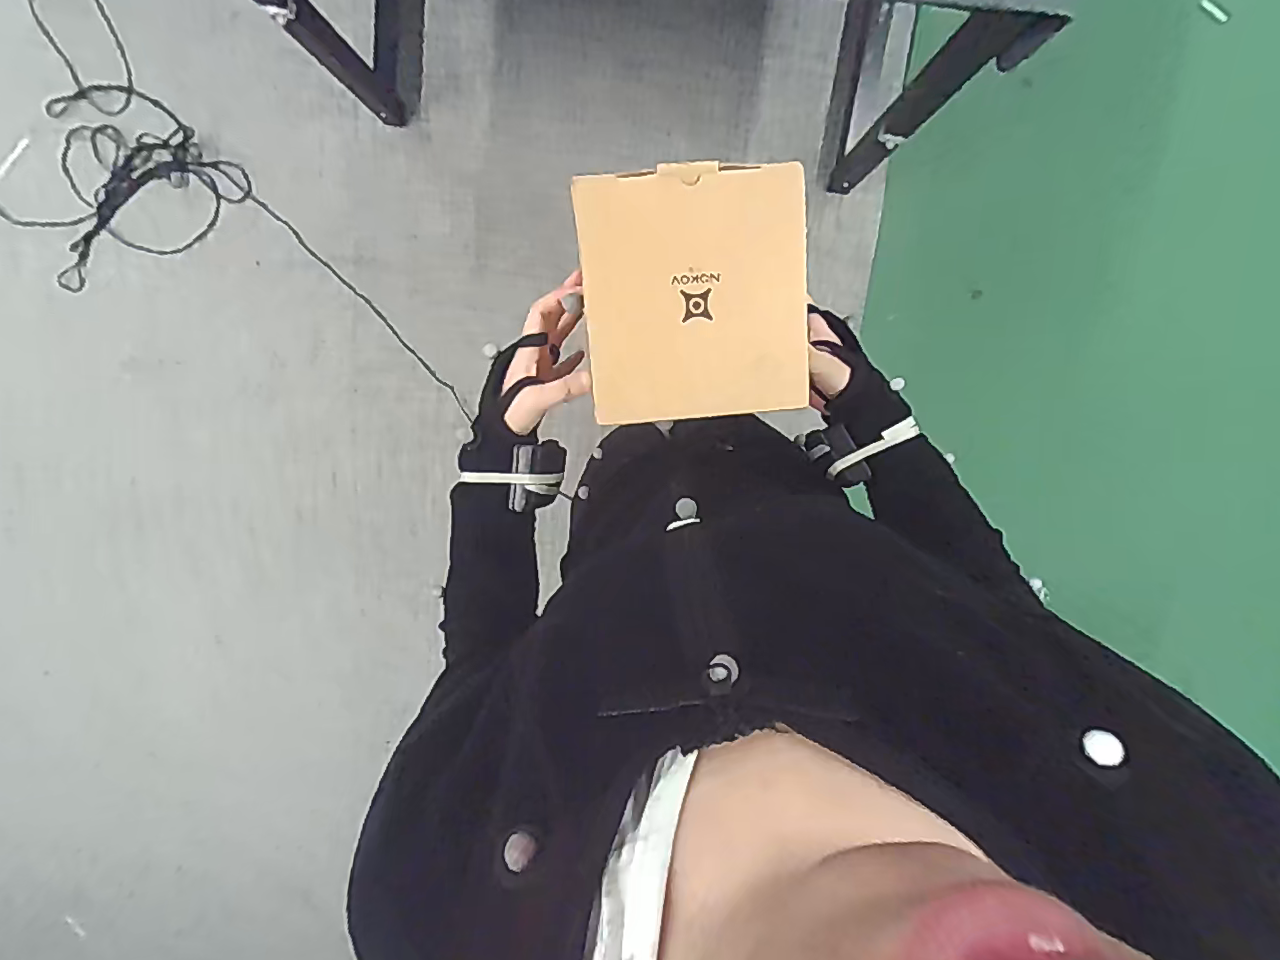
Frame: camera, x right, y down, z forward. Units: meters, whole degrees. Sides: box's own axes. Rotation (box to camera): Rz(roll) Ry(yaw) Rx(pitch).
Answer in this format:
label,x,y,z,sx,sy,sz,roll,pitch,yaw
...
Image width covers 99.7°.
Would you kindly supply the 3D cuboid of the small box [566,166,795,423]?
label,x,y,z,sx,sy,sz,roll,pitch,yaw
small box,0.029,-0.148,0.476,0.168,0.176,0.179,-5,99,-3
